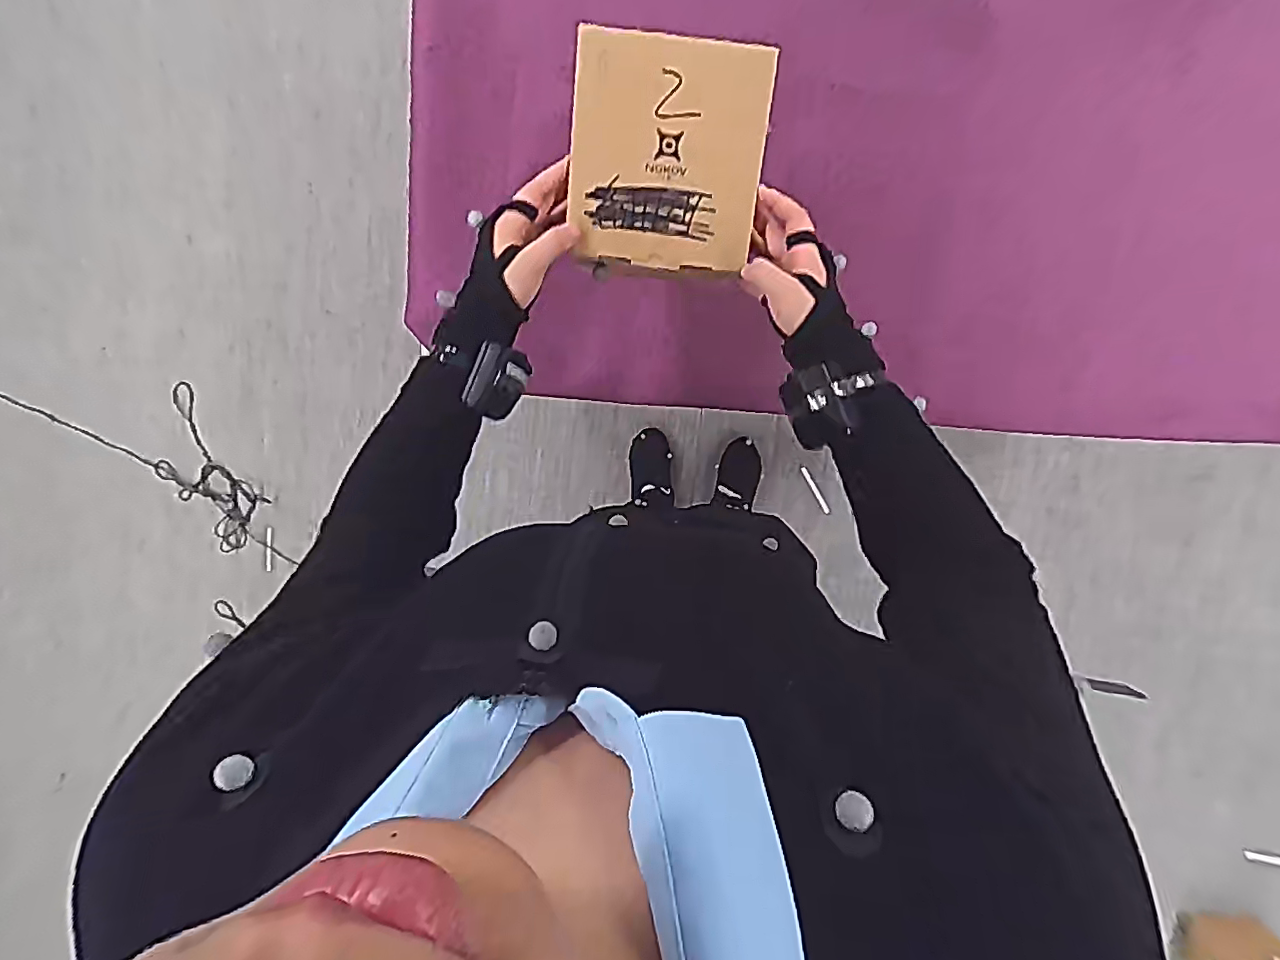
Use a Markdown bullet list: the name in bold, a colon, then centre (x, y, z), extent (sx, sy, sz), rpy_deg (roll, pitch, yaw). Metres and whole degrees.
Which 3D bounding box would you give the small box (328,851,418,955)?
- **small box**: centre (-0.819, 1.300, 1.676), extent (0.179, 0.176, 0.168), rpy_deg (16, 98, 5)

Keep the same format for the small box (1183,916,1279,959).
- **small box**: centre (1.559, 1.268, 1.384), extent (0.179, 0.176, 0.168), rpy_deg (0, 97, 6)
